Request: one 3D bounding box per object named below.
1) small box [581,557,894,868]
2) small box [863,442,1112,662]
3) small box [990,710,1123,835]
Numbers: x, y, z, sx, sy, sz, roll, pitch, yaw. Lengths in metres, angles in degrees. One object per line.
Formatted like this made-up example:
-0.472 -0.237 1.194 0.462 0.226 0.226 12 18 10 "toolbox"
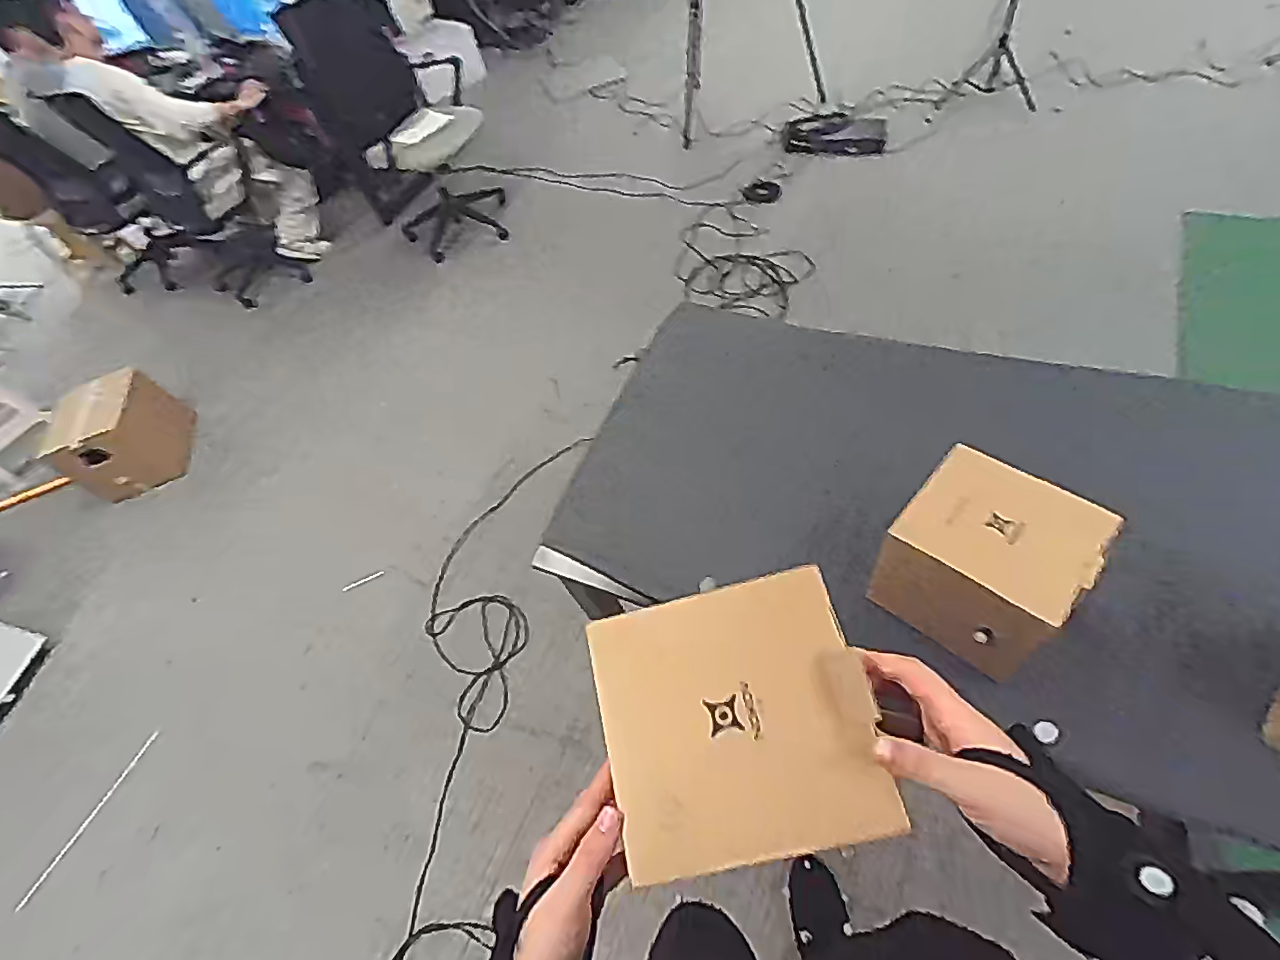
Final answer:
0.070 0.180 0.433 0.179 0.176 0.168 -16 65 5 "small box"
0.397 0.093 0.650 0.179 0.176 0.168 34 66 32 "small box"
0.833 0.595 1.098 0.168 0.176 0.179 10 59 19 "small box"
